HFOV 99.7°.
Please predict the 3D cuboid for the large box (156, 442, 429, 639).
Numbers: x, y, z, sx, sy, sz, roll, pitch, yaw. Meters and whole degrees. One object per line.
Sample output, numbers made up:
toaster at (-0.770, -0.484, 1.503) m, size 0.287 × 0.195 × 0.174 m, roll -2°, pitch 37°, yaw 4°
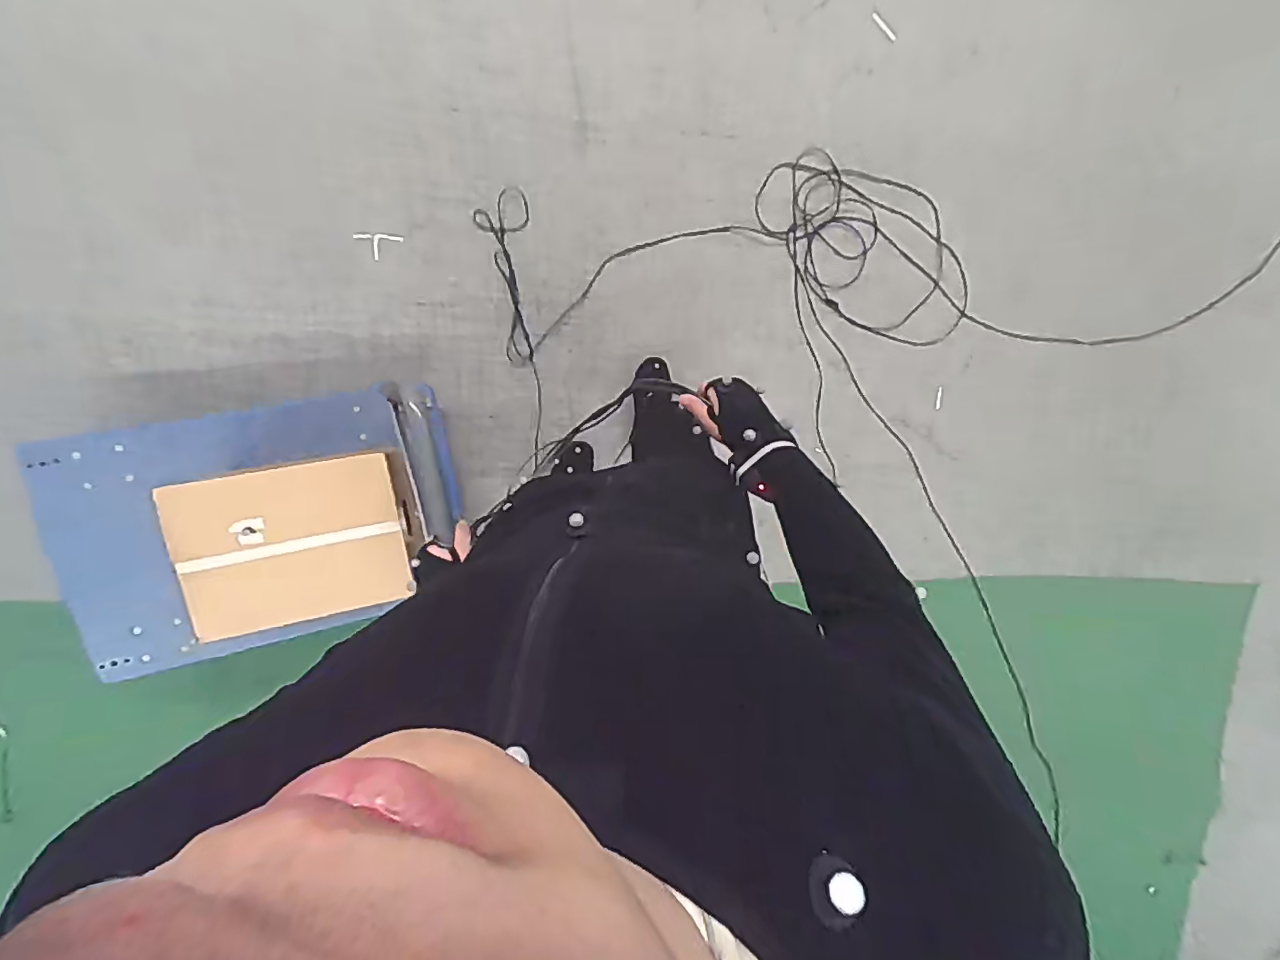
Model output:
large box at (-0.726, 0.105, 1.214) m, size 0.408 × 0.320 × 0.320 m, roll -11°, pitch 98°, yaw -15°
